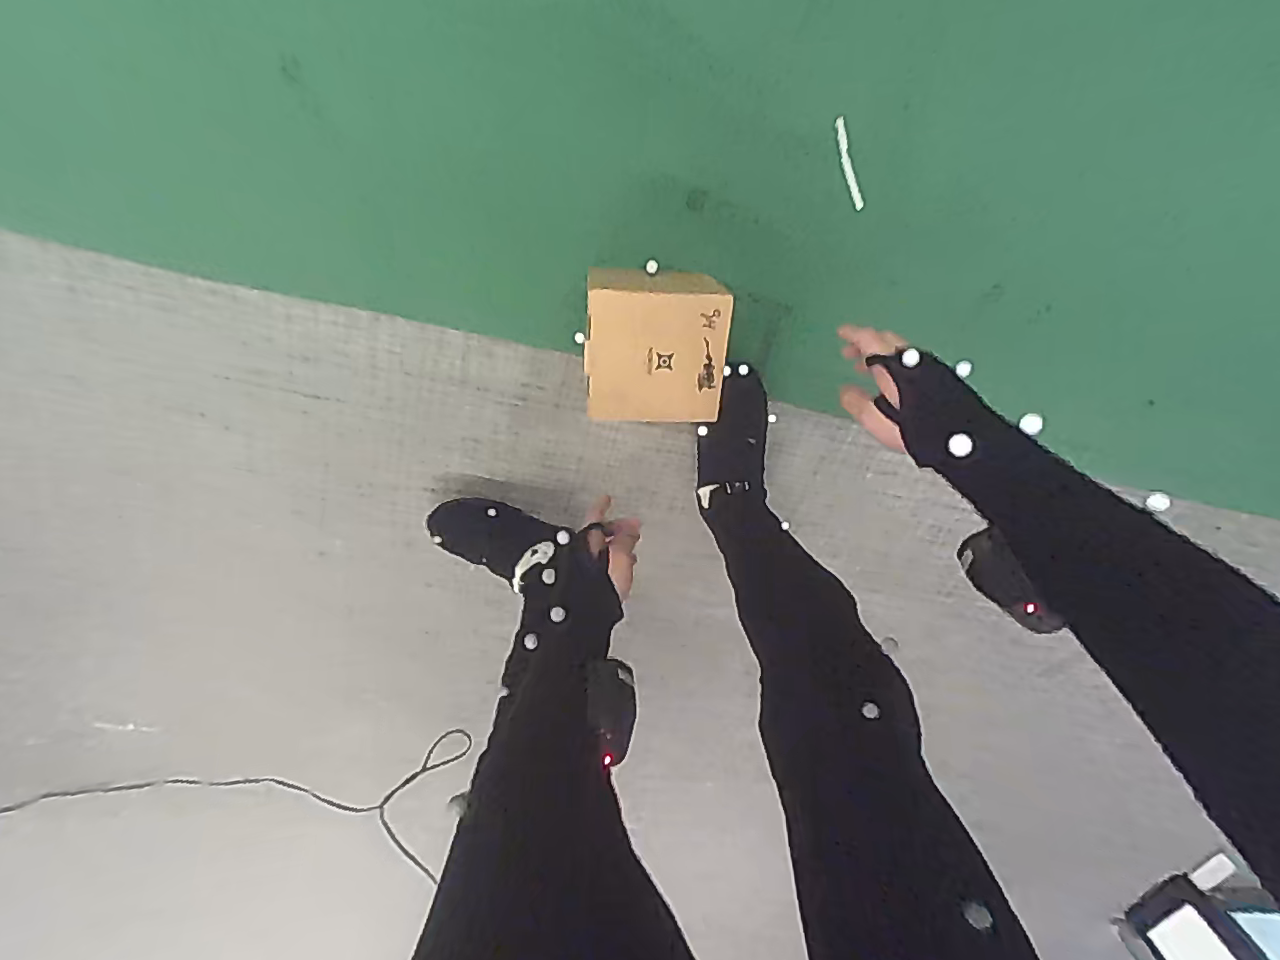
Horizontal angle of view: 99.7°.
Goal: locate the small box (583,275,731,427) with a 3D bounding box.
[{"bbox_3d":[0.013,-0.183,0.746,0.179,0.176,0.168,1,119,-6],"label":"small box"}]
